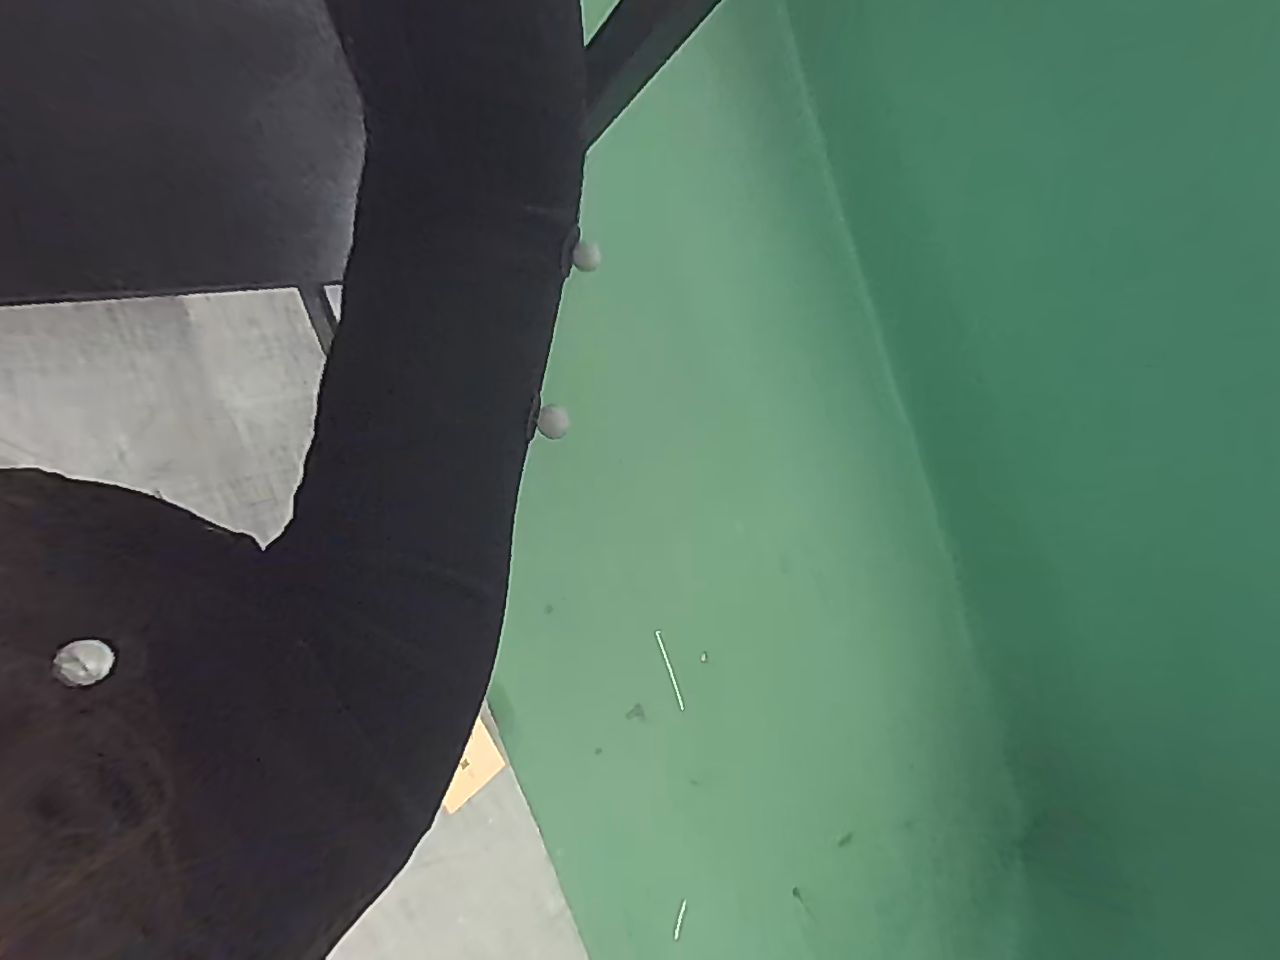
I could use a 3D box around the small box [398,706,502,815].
[{"bbox_3d":[-0.493,0.707,1.389,0.168,0.176,0.179,-31,103,-38],"label":"small box"}]
